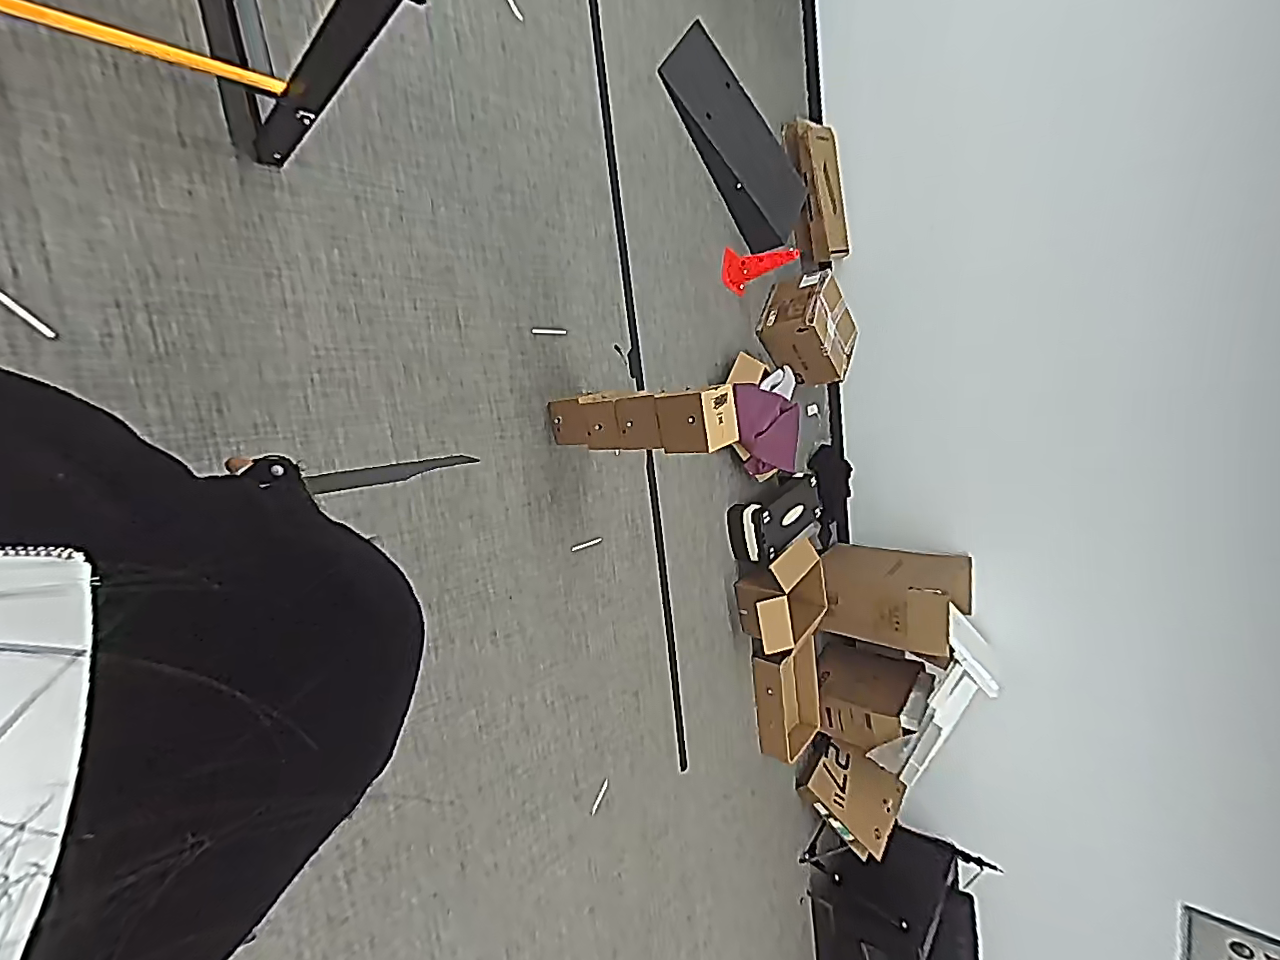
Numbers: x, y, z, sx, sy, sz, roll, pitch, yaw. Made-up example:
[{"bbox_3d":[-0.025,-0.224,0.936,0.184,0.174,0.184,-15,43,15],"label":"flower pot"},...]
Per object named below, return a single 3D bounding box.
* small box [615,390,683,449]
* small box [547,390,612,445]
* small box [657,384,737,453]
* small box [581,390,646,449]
[{"bbox_3d":[0.044,-0.194,1.731,0.179,0.176,0.168,-18,103,-46],"label":"small box"},{"bbox_3d":[-0.204,-0.224,1.947,0.179,0.176,0.168,-23,107,-44],"label":"small box"},{"bbox_3d":[0.167,-0.183,1.623,0.168,0.176,0.179,-23,108,-45],"label":"small box"},{"bbox_3d":[-0.082,-0.204,1.839,0.179,0.176,0.168,-25,108,-44],"label":"small box"}]
